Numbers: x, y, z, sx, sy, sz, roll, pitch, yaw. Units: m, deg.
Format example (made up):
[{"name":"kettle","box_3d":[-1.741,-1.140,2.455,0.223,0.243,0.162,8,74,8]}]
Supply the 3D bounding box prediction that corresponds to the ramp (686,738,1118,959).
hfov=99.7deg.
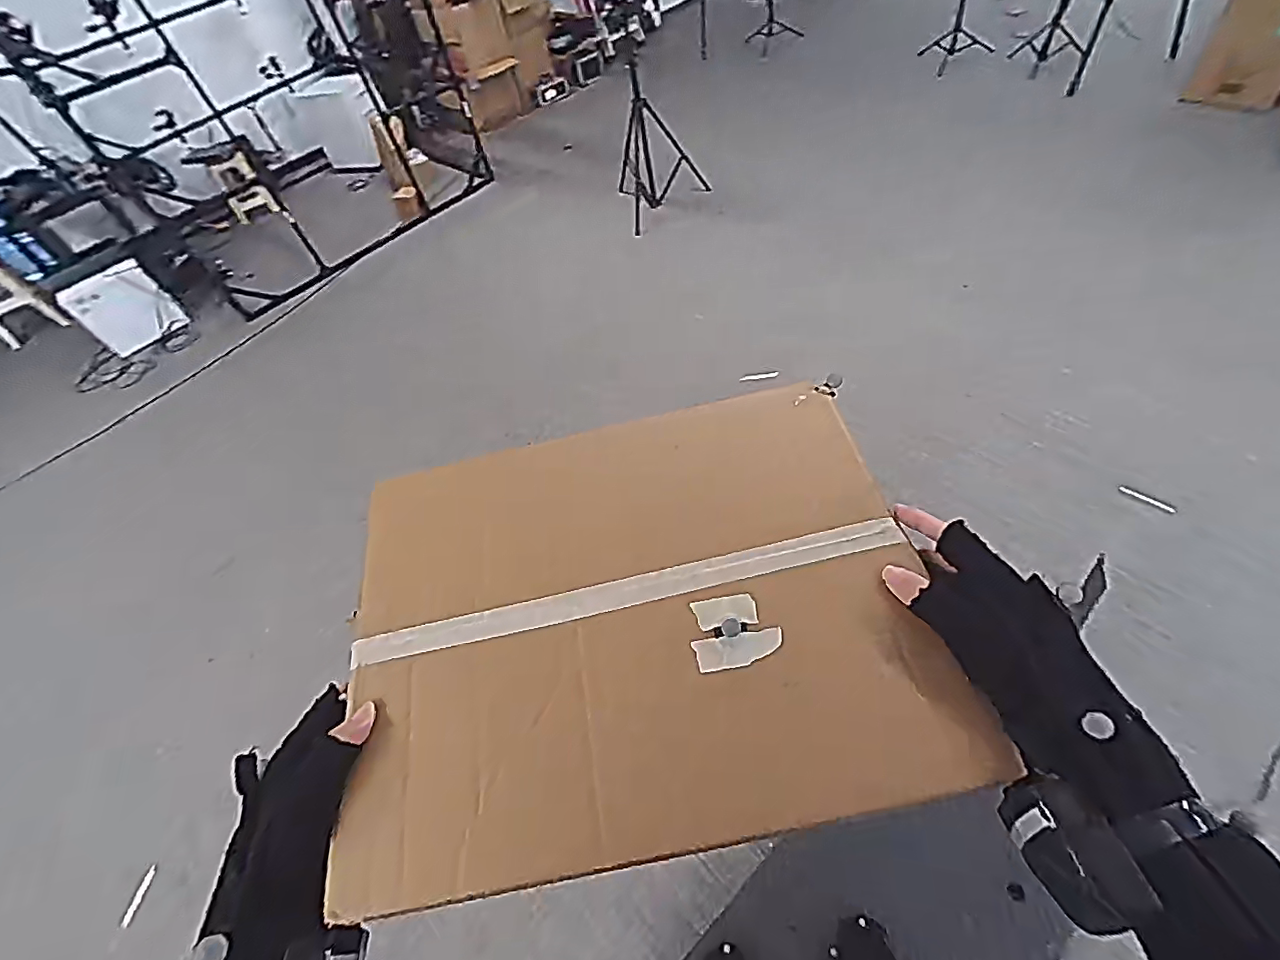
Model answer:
[{"name":"ramp","box_3d":[0.538,0.903,1.125,0.991,0.206,0.509,-41,53,-19]}]

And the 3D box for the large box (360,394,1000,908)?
[{"name":"large box","box_3d":[0.016,0.170,0.527,0.408,0.320,0.320,-13,56,1]}]
